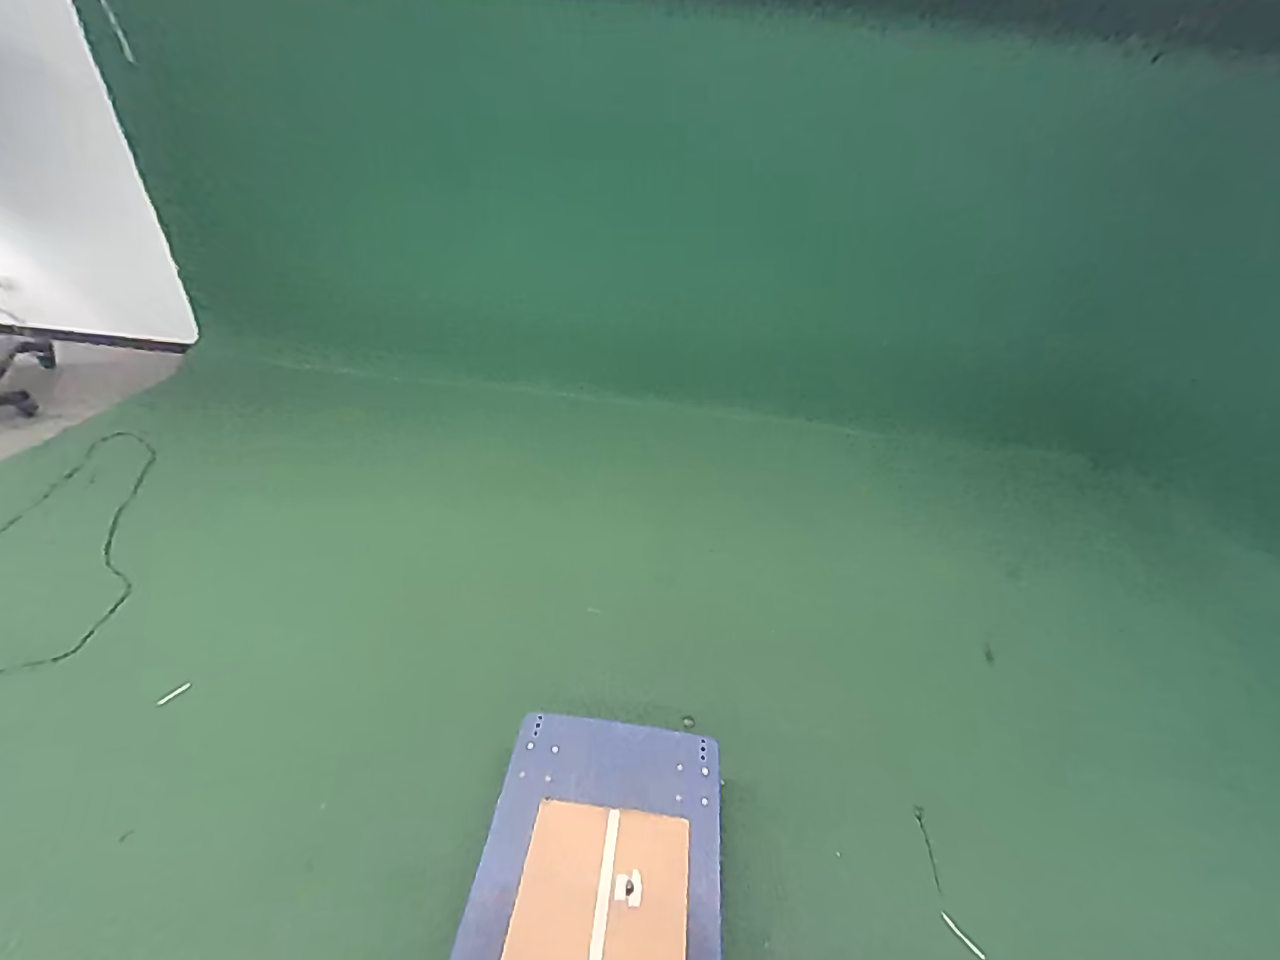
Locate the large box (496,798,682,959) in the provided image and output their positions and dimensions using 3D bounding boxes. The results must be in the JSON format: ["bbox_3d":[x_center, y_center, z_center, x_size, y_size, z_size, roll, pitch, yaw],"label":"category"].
[{"bbox_3d":[-0.092,0.912,1.038,0.320,0.320,0.408,8,33,2],"label":"large box"}]
